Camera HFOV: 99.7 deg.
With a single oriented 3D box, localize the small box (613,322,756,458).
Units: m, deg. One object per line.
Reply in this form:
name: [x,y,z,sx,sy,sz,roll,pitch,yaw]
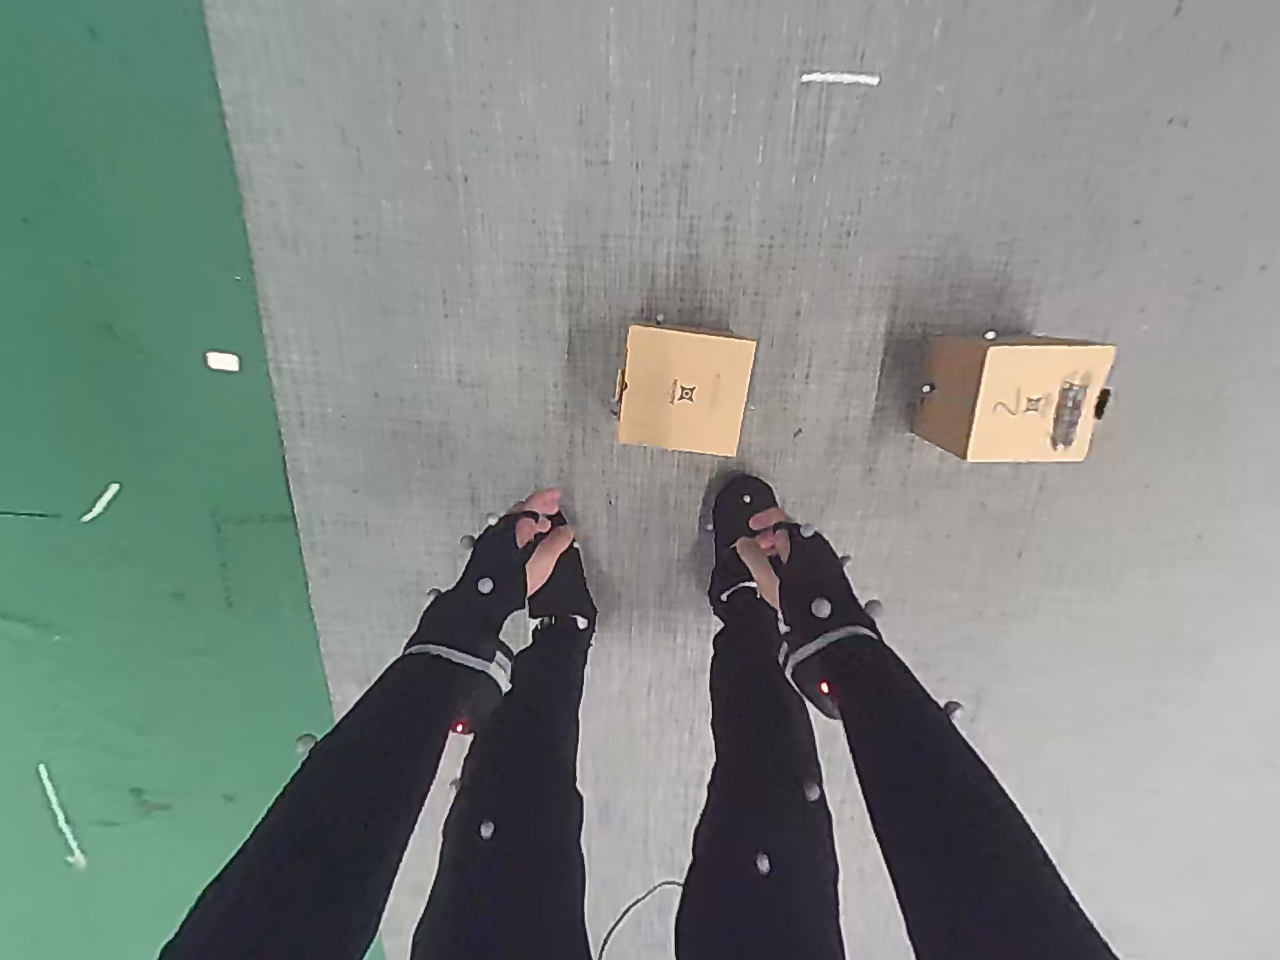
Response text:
small box: [0.059,-0.144,0.822,0.179,0.176,0.168,8,109,-3]
